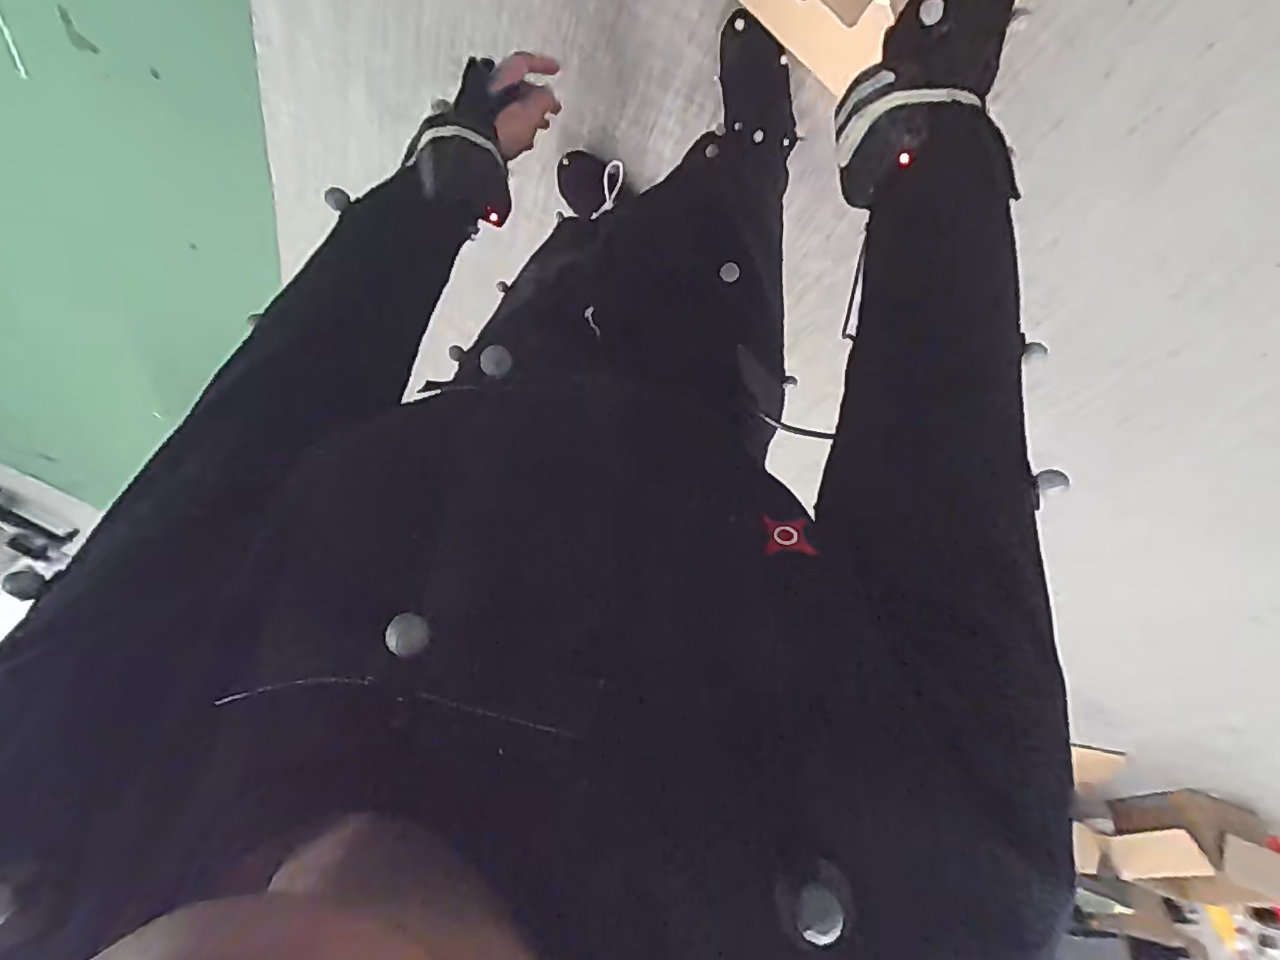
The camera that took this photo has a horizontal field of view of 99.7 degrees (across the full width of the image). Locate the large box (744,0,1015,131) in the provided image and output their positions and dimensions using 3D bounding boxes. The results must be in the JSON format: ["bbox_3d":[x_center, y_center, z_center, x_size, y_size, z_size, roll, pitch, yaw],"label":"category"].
[{"bbox_3d":[0.286,-0.736,0.652,0.408,0.320,0.320,32,140,-14],"label":"large box"}]
